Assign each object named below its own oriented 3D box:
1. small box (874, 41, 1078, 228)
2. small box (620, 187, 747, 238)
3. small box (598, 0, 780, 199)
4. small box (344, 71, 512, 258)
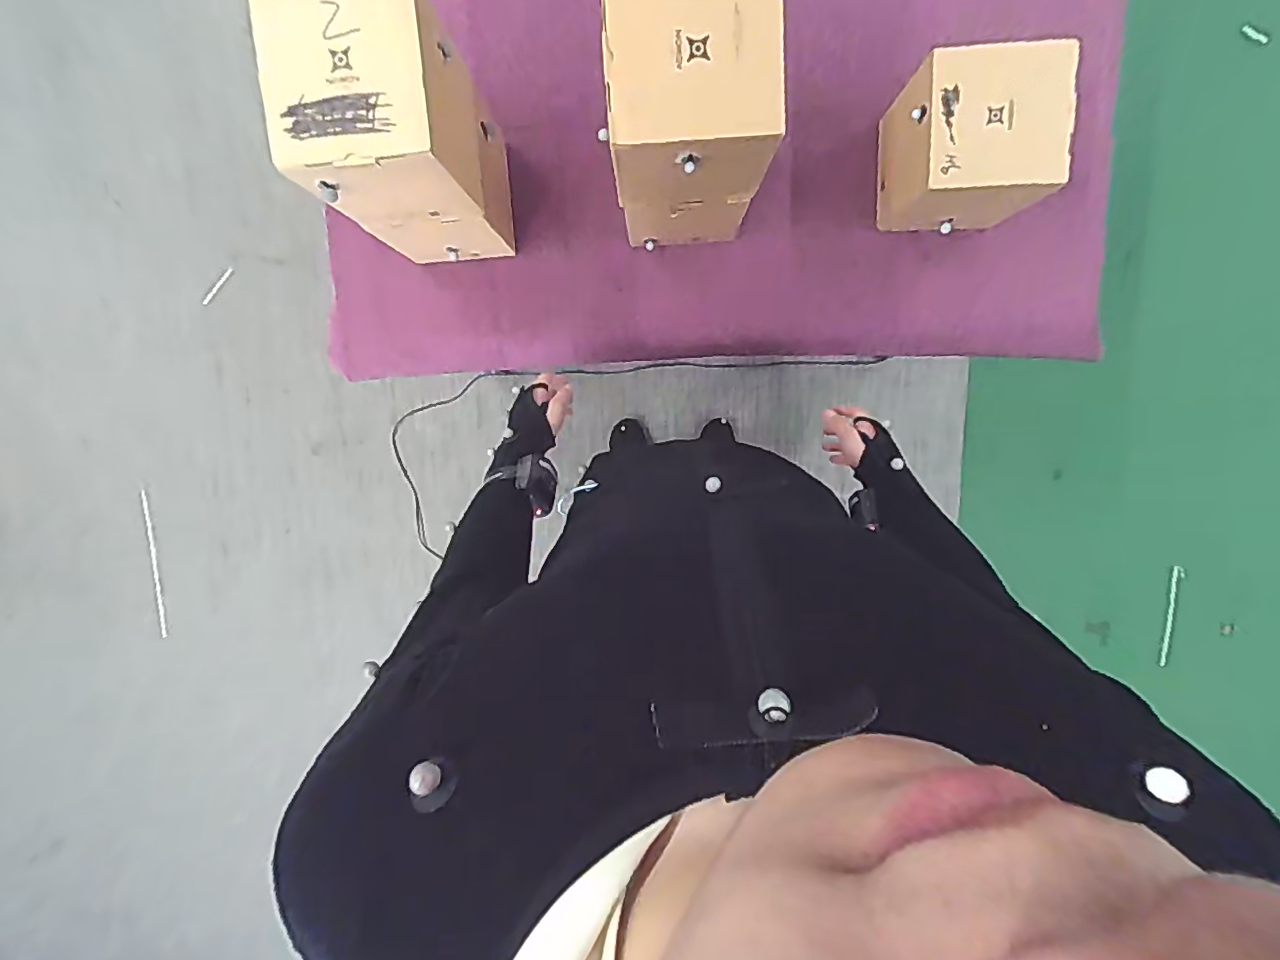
[{"bbox_3d":[0.447,-0.461,0.746,0.179,0.176,0.168,-1,97,2],"label":"small box"},{"bbox_3d":[0.057,-0.453,0.761,0.168,0.176,0.179,-2,97,2],"label":"small box"},{"bbox_3d":[0.051,-0.429,0.600,0.179,0.176,0.168,-2,98,2],"label":"small box"},{"bbox_3d":[-0.289,-0.436,0.773,0.168,0.176,0.179,-3,97,3],"label":"small box"}]
